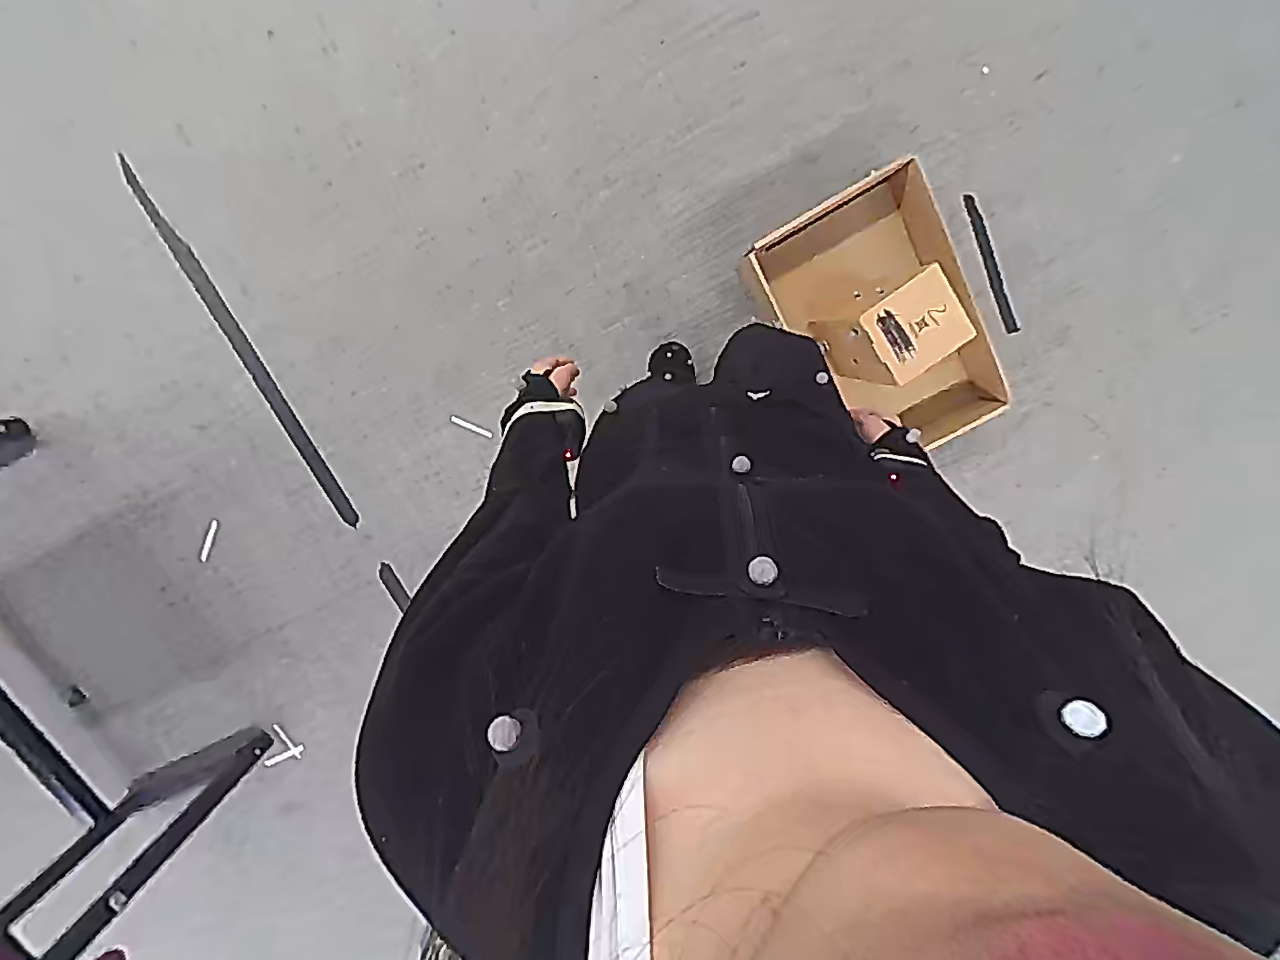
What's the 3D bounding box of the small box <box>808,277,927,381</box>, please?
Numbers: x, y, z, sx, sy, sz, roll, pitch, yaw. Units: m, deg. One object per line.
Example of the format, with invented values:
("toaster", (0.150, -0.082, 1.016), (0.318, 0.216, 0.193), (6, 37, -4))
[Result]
("small box", (0.532, -0.356, 1.288), (0.179, 0.176, 0.168), (-33, 102, 9))
